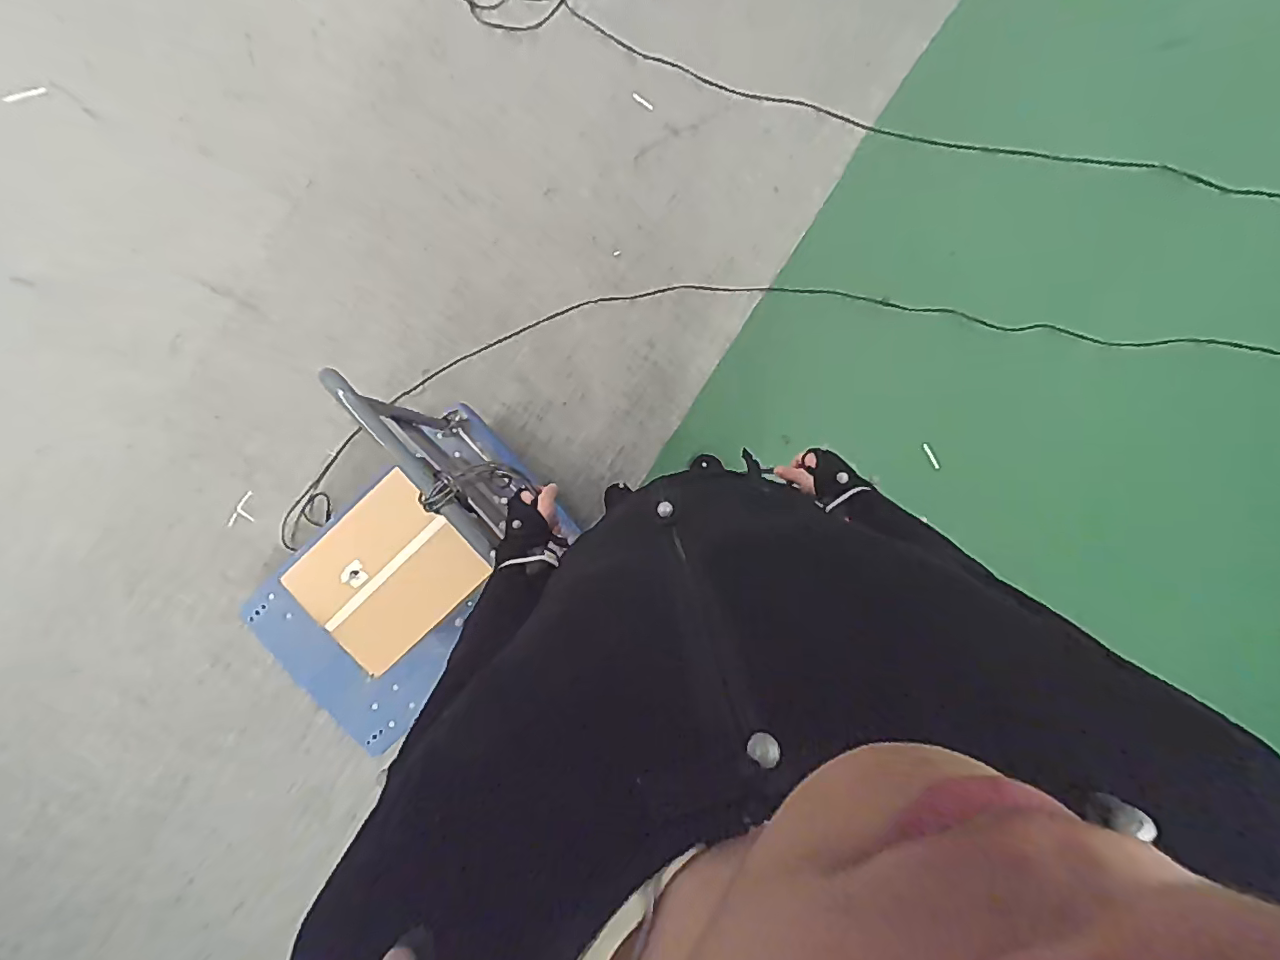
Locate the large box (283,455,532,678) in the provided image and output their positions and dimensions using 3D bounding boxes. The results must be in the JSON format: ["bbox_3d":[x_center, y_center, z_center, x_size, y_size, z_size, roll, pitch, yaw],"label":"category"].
[{"bbox_3d":[-0.534,0.183,1.320,0.408,0.320,0.320,-43,91,4],"label":"large box"}]
